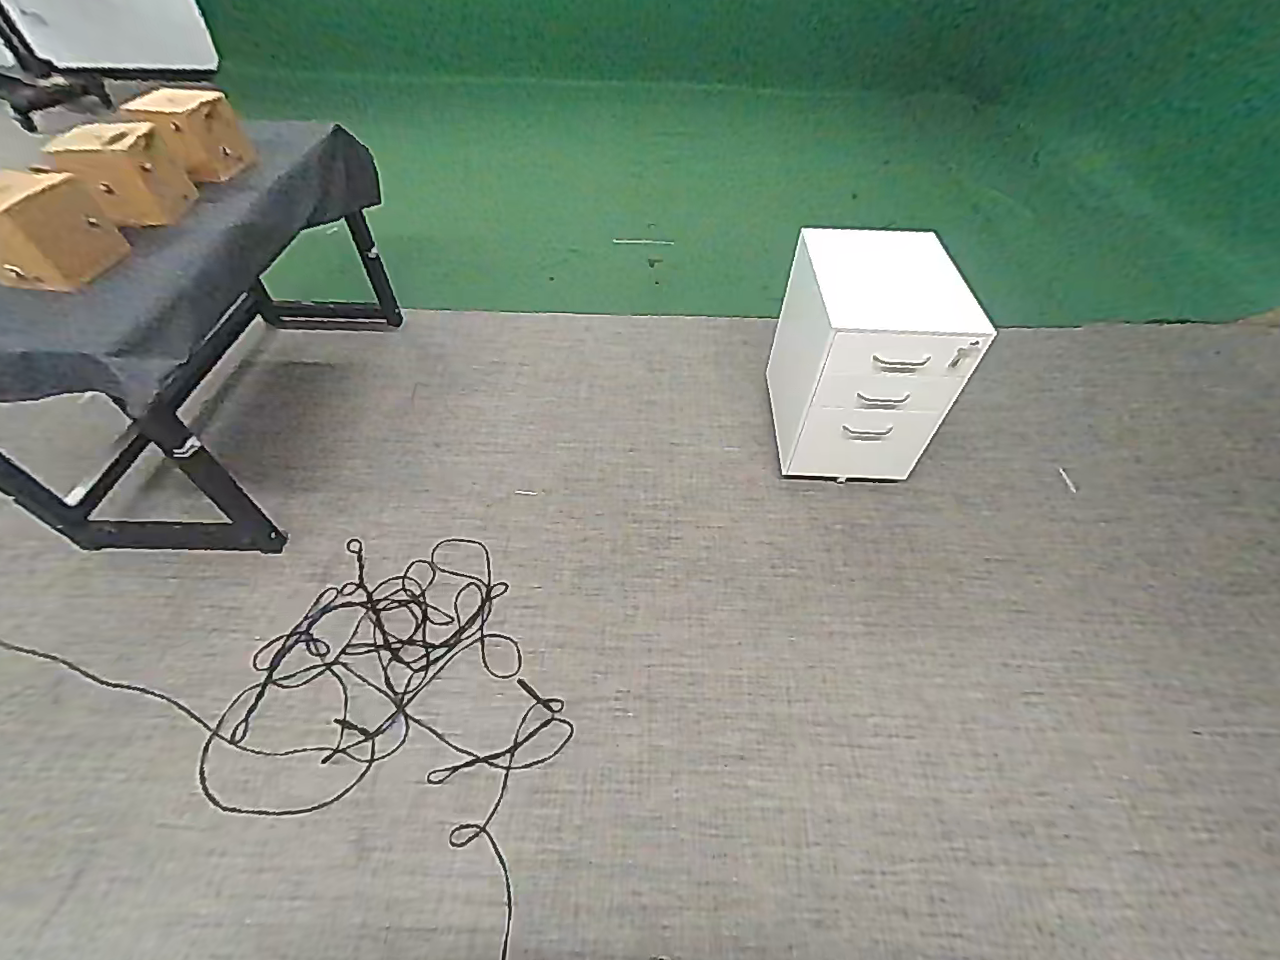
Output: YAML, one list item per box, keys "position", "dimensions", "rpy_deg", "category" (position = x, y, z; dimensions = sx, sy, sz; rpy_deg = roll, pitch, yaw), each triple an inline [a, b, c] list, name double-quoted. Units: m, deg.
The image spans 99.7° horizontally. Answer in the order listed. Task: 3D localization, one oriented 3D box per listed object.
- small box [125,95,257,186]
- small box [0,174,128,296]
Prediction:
- position: [-1.199, -0.915, 1.459]
  dimensions: [0.179, 0.176, 0.168]
  rpy_deg: [6, 50, 3]
  category: "small box"
- position: [-1.225, -0.505, 1.113]
  dimensions: [0.168, 0.176, 0.179]
  rpy_deg: [4, 51, 4]
  category: "small box"
